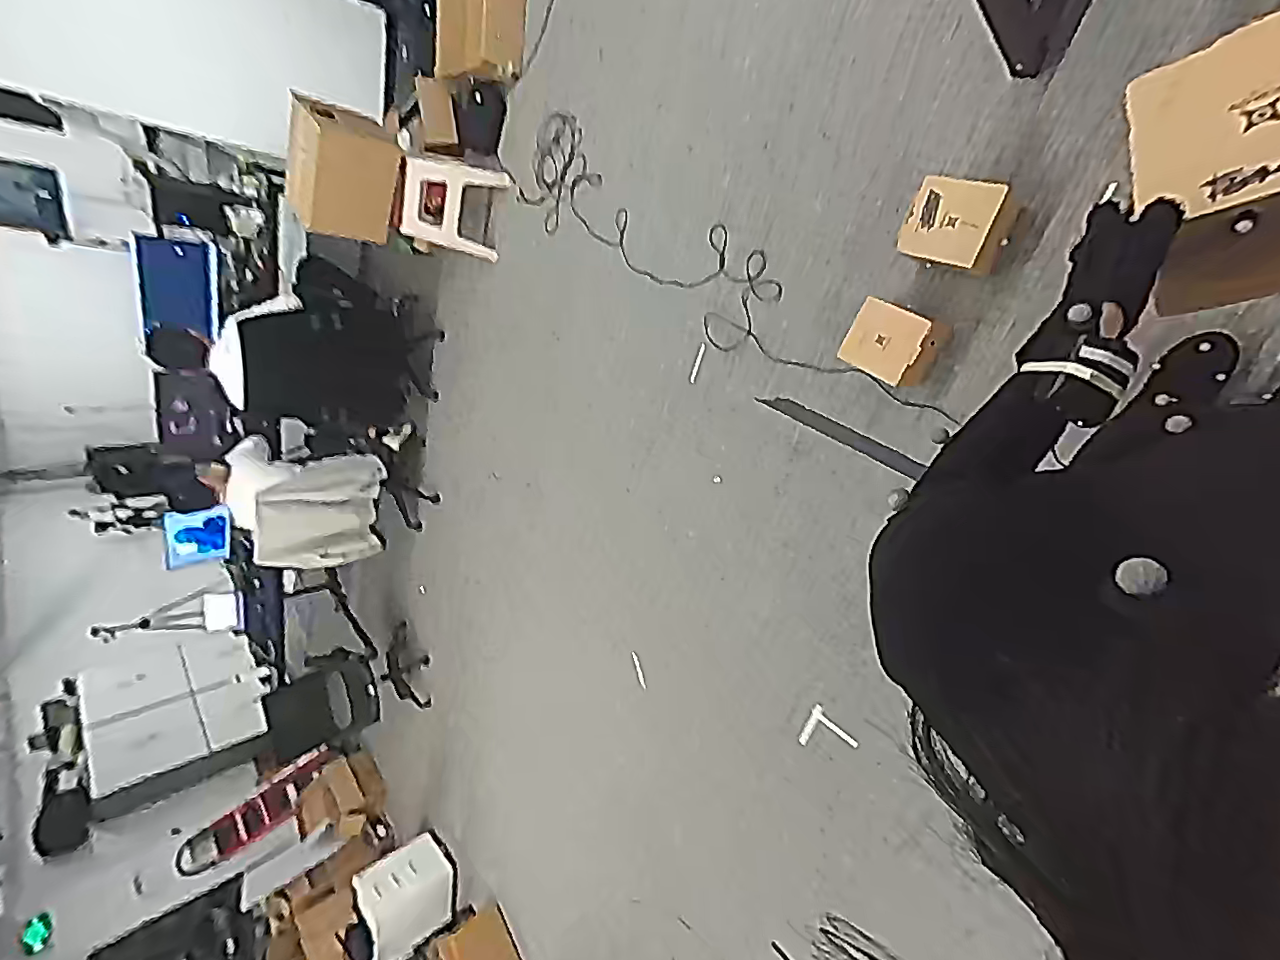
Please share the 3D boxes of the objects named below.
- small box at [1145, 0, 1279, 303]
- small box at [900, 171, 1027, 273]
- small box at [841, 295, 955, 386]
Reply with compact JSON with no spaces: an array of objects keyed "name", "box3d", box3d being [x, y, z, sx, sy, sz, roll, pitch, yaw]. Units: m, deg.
[{"name":"small box","box3d":[0.567,-0.290,0.476,0.168,0.176,0.179,-6,71,48]},{"name":"small box","box3d":[0.734,-0.579,1.226,0.179,0.176,0.168,33,120,35]},{"name":"small box","box3d":[0.650,-0.348,1.358,0.179,0.176,0.168,41,123,33]}]
